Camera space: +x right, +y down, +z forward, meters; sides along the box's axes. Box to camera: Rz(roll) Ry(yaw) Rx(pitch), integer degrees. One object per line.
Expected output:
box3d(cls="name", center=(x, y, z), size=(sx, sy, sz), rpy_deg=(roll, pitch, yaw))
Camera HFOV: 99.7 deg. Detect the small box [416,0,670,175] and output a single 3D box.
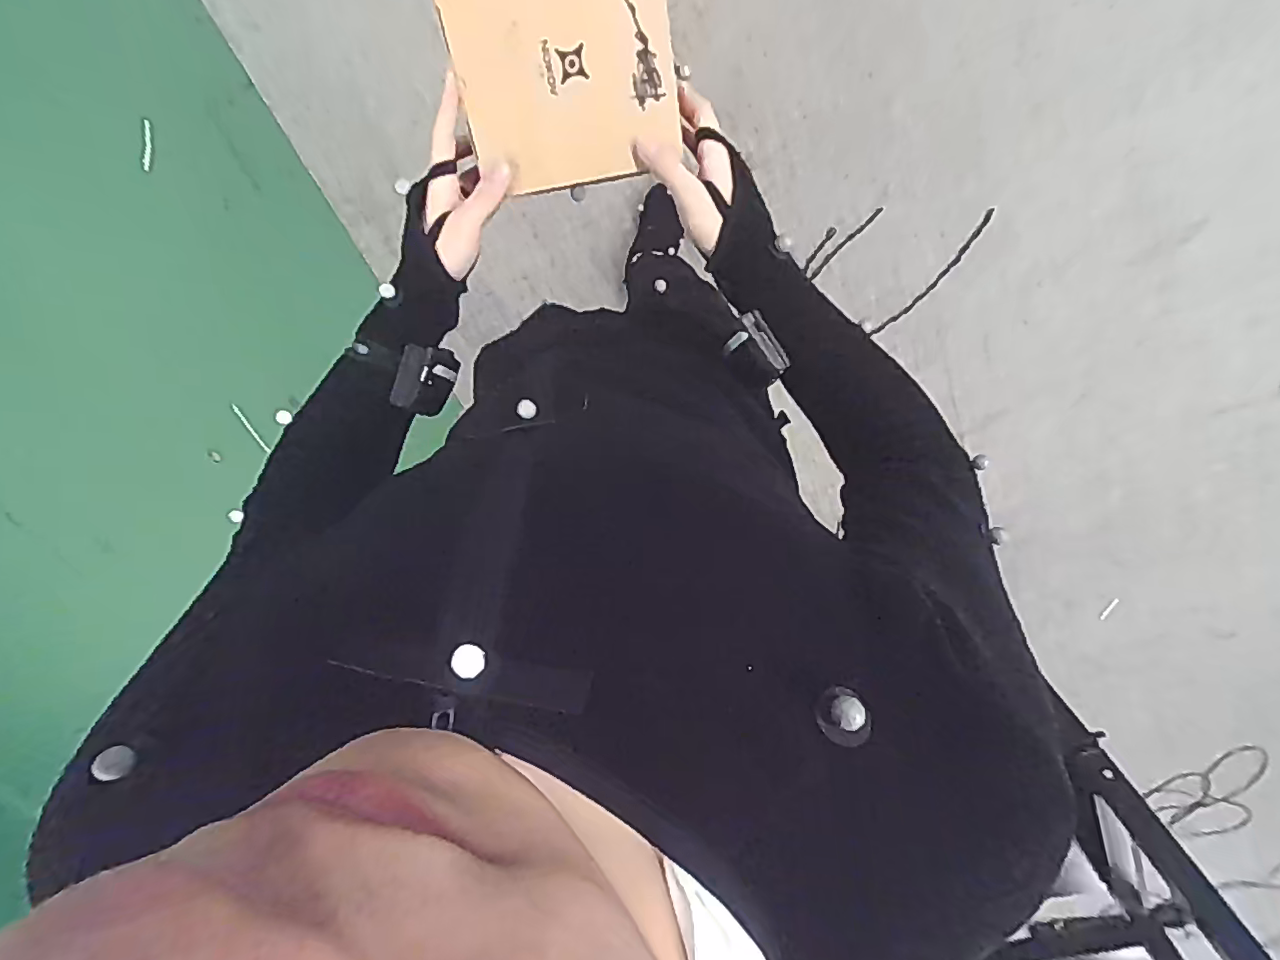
box3d(cls="small box", center=(-0.067, -0.365, 0.465), size=(0.179, 0.176, 0.168), rpy_deg=(-5, 120, 6))
